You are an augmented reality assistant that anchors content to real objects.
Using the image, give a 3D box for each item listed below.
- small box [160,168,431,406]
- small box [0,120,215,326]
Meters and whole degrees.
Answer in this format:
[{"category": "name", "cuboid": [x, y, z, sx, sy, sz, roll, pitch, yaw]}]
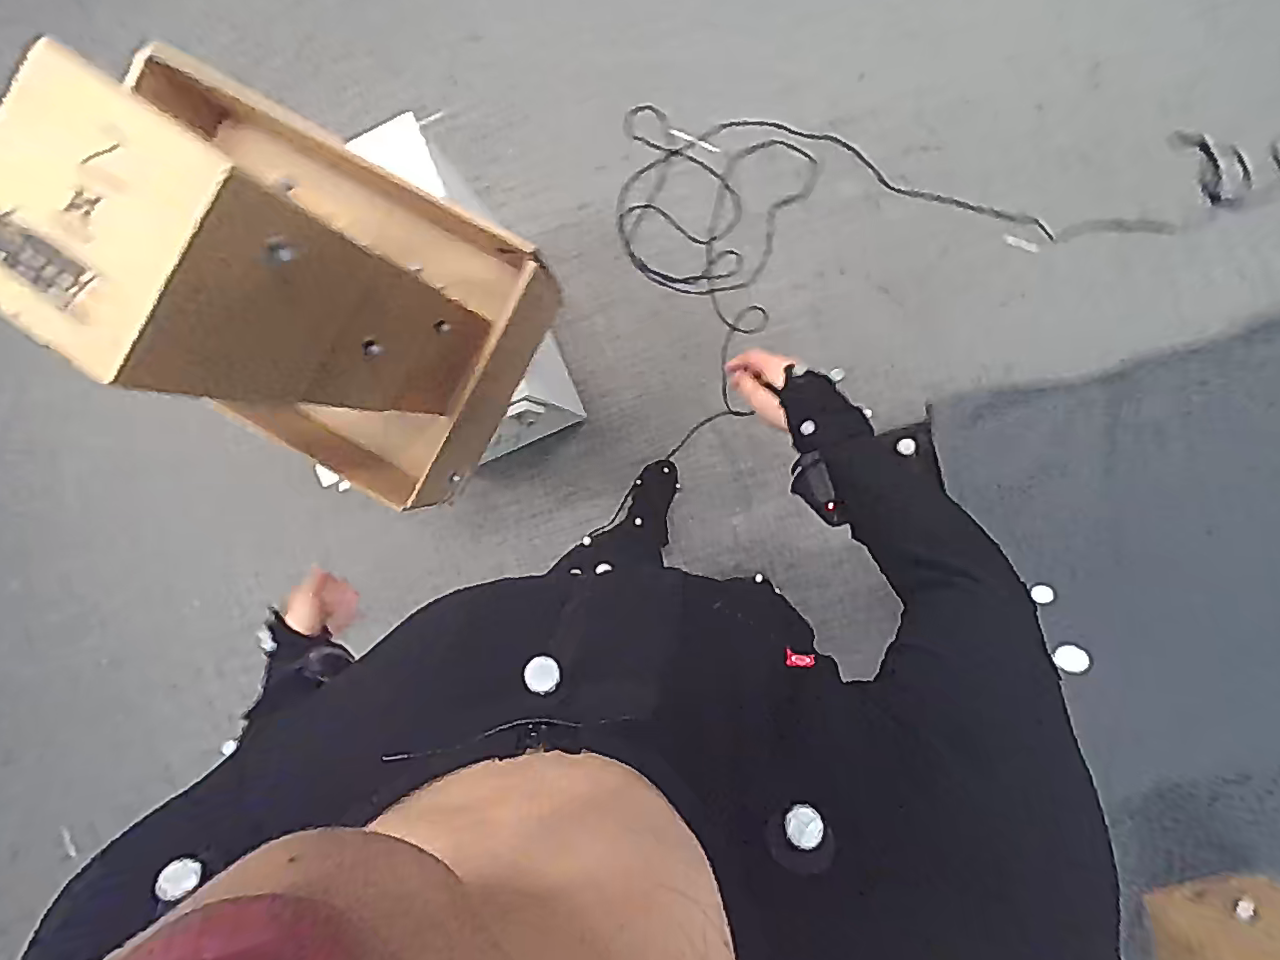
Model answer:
[{"category": "small box", "cuboid": [-0.370, -0.201, 0.617, 0.168, 0.176, 0.179, 31, 96, 4]}, {"category": "small box", "cuboid": [-0.619, -0.285, 0.635, 0.168, 0.176, 0.179, 4, 95, 5]}]
